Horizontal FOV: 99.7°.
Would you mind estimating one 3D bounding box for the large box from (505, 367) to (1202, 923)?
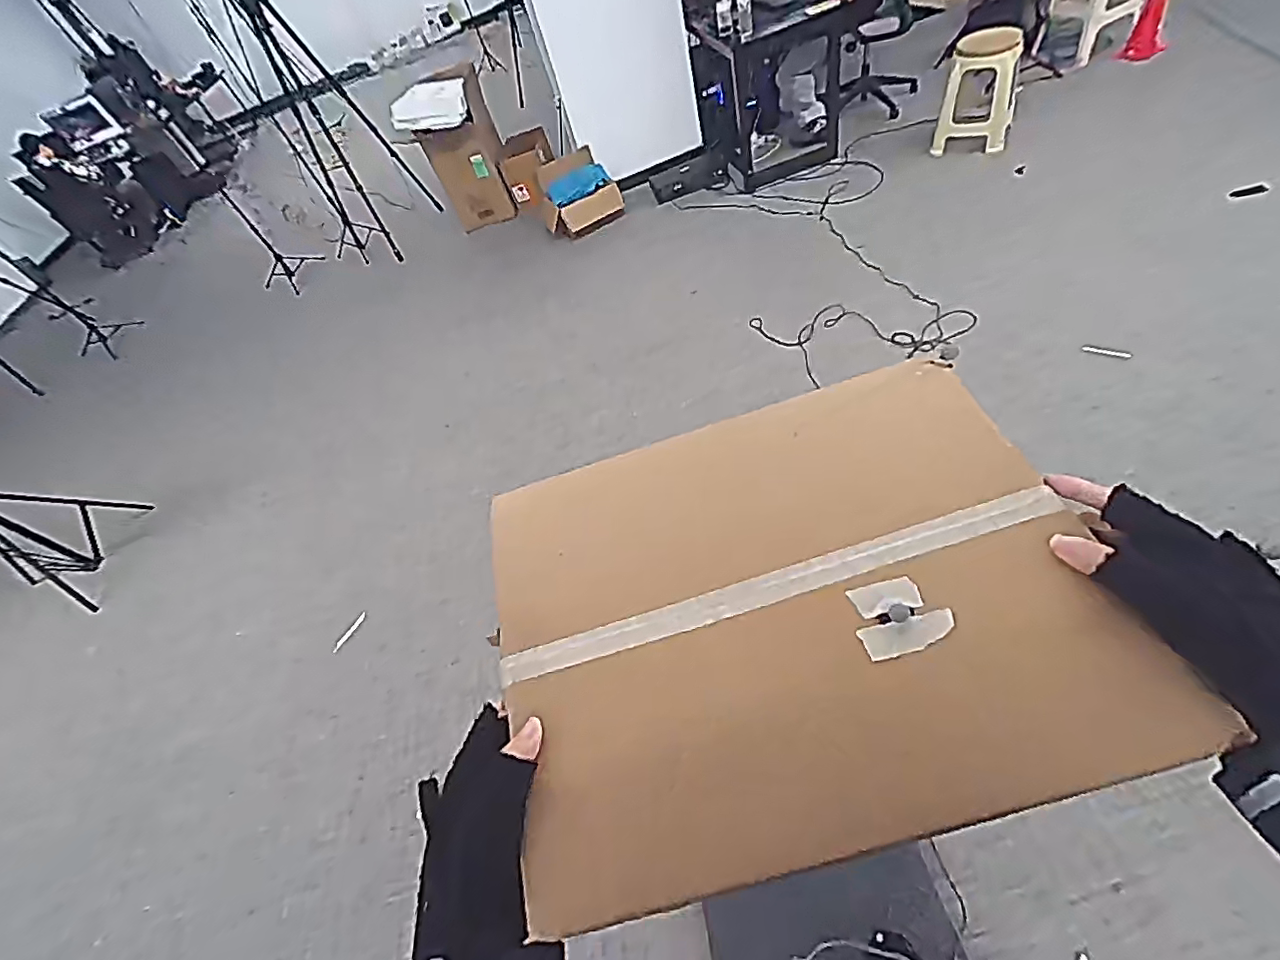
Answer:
[{"bbox_3d":[0.130,0.162,0.520,0.408,0.320,0.320,-19,55,3],"label":"large box"}]
